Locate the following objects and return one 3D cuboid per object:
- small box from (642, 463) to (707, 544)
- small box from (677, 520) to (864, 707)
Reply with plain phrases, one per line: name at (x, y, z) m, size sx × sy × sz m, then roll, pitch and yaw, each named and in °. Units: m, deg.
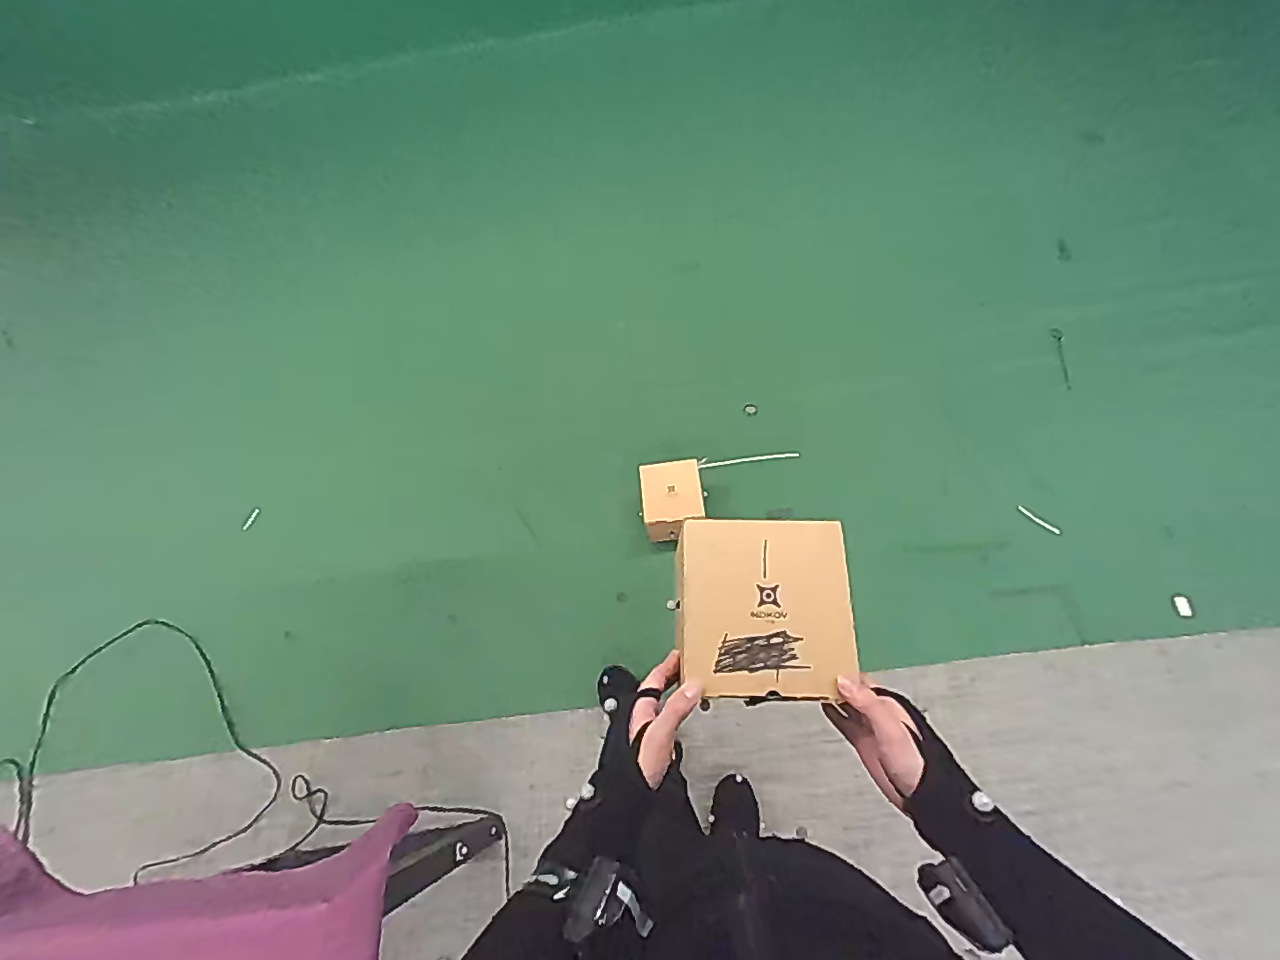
small box at (0.099, 0.071, 1.556) m, size 0.168 × 0.176 × 0.179 m, roll -8°, pitch 66°, yaw 3°
small box at (0.130, 0.153, 0.602) m, size 0.168 × 0.176 × 0.179 m, roll 1°, pitch 68°, yaw 1°
